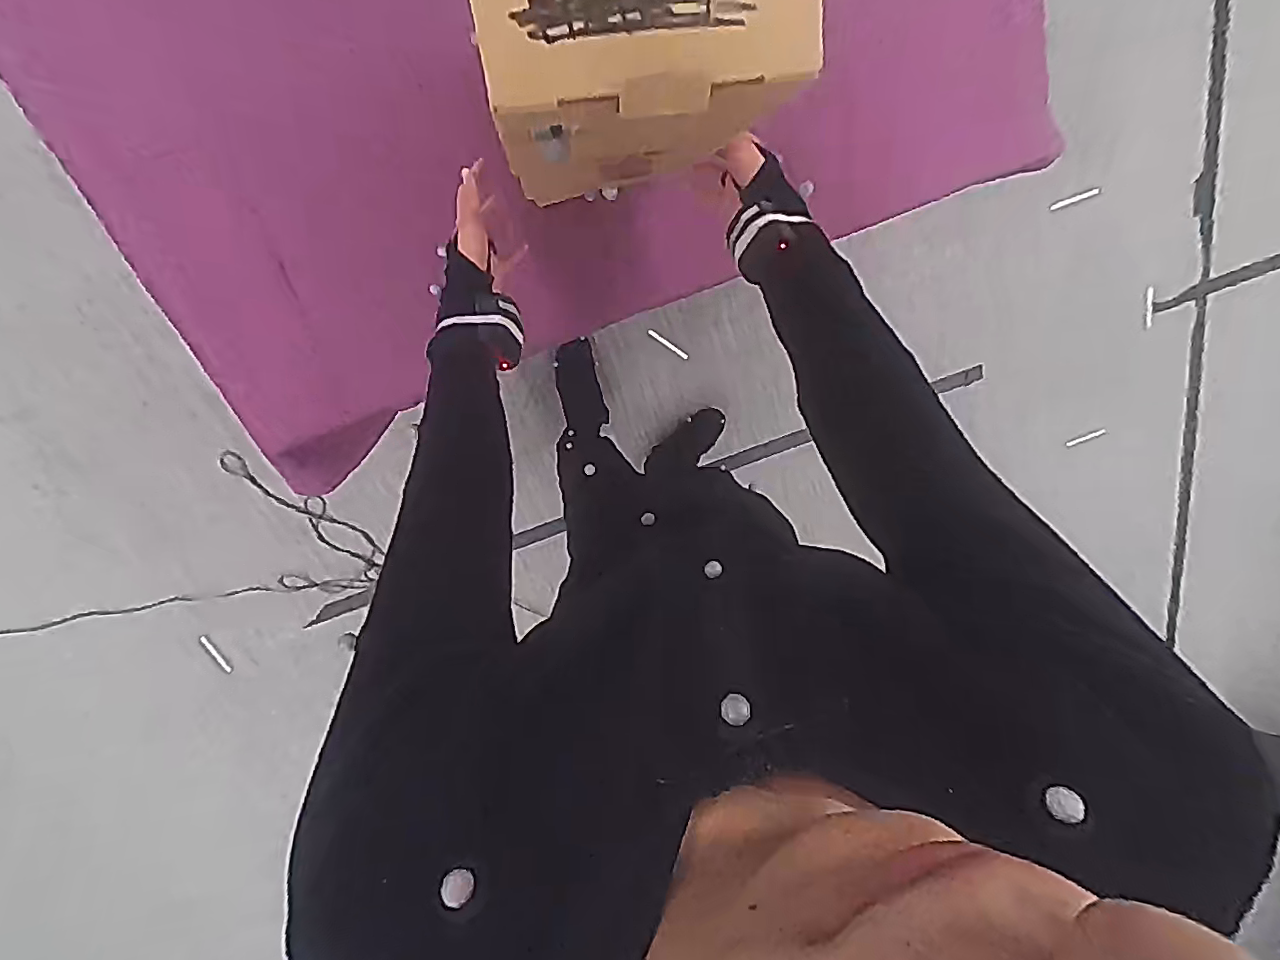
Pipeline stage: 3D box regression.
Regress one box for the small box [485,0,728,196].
[{"bbox_3d":[-0.036,-0.355,0.452,0.168,0.176,0.179,-11,112,-6],"label":"small box"}]
